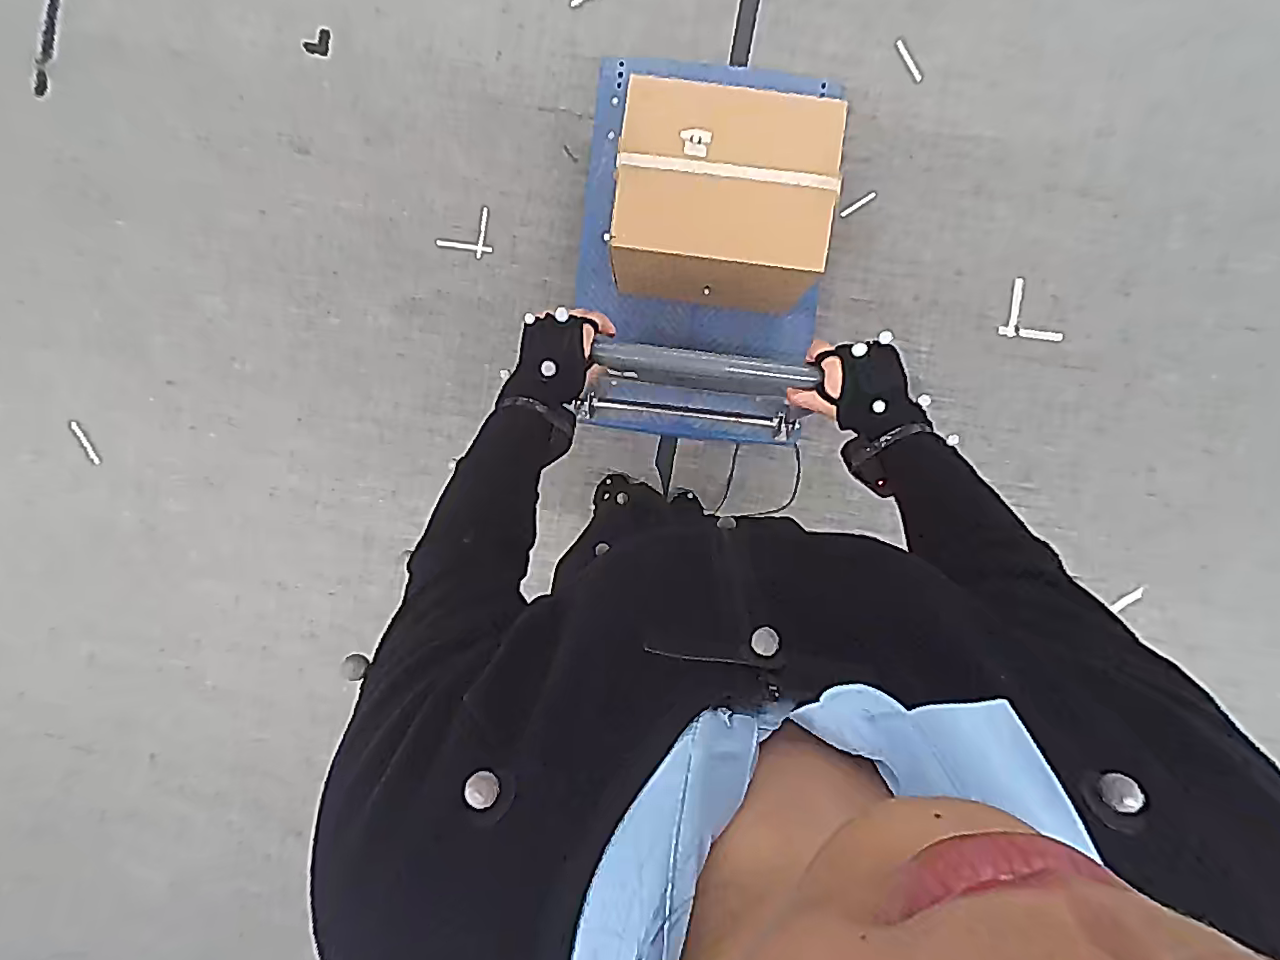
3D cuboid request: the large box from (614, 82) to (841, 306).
[{"bbox_3d":[0.169,-0.582,1.162,0.408,0.320,0.320,7,92,2],"label":"large box"}]
